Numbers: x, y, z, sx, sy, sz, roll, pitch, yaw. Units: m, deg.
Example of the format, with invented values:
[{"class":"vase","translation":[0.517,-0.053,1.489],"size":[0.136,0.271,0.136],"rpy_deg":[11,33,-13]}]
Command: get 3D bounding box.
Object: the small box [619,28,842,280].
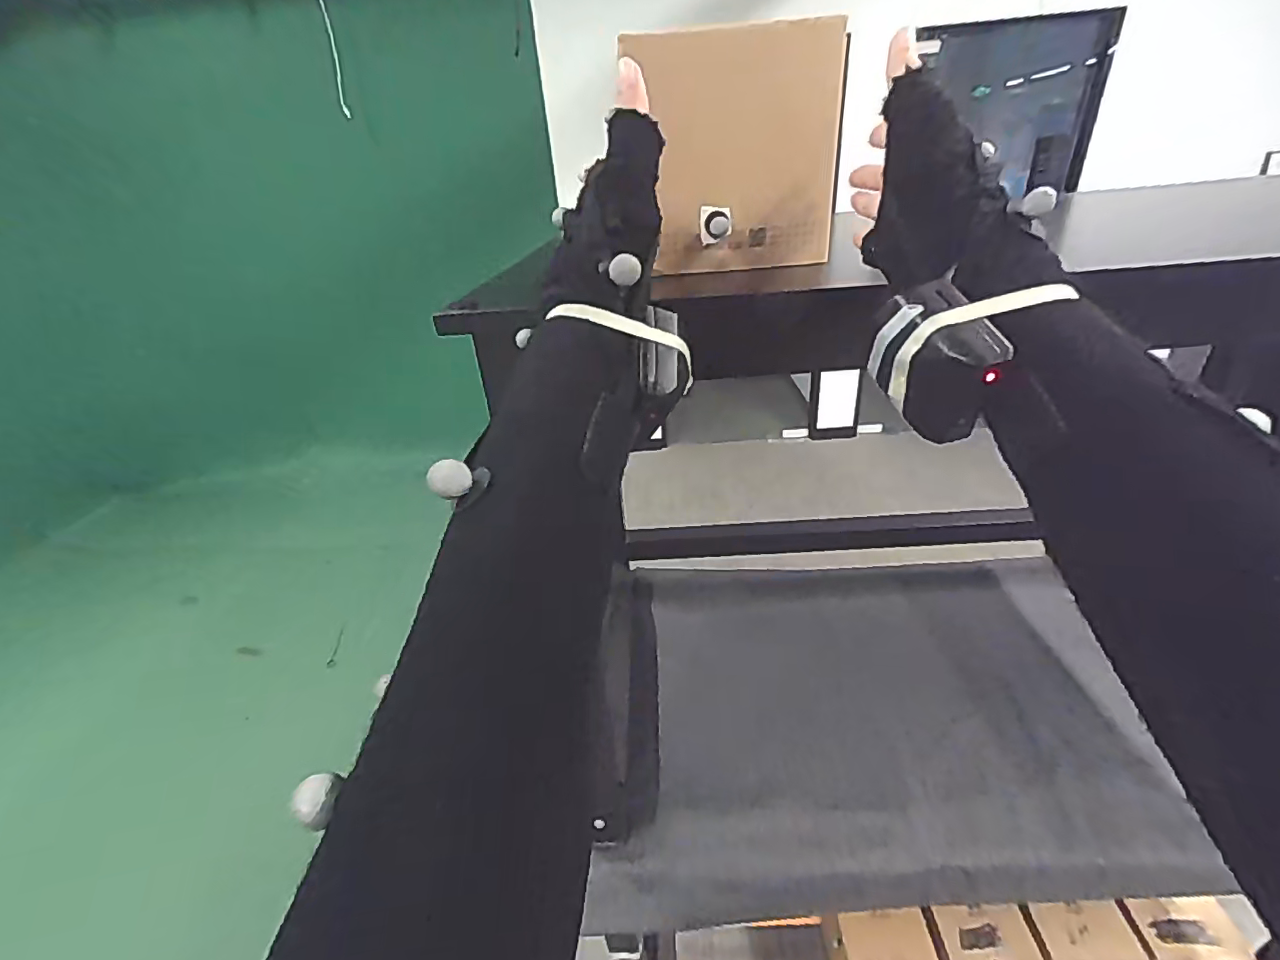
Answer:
[{"class":"small box","translation":[0.069,-0.287,0.502],"size":[0.168,0.176,0.179],"rpy_deg":[-5,29,0]}]
